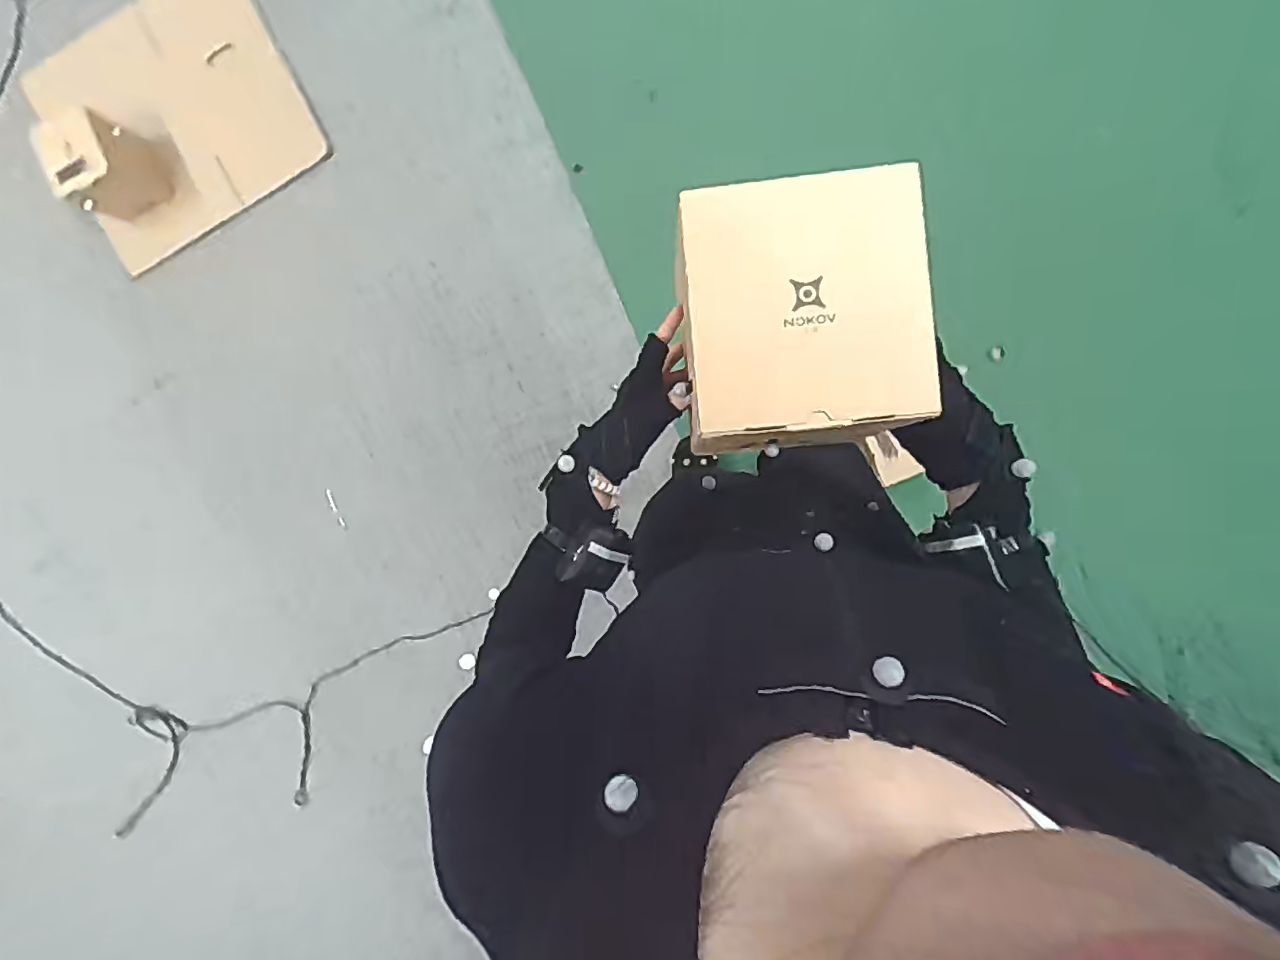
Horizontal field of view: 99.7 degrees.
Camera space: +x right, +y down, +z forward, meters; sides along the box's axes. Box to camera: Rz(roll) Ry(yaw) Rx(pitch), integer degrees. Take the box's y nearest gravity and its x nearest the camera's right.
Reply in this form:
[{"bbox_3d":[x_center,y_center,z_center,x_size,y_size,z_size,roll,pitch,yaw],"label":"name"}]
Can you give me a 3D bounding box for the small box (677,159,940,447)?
[{"bbox_3d":[0.120,-0.126,0.451,0.168,0.176,0.179,-6,90,3],"label":"small box"}]
